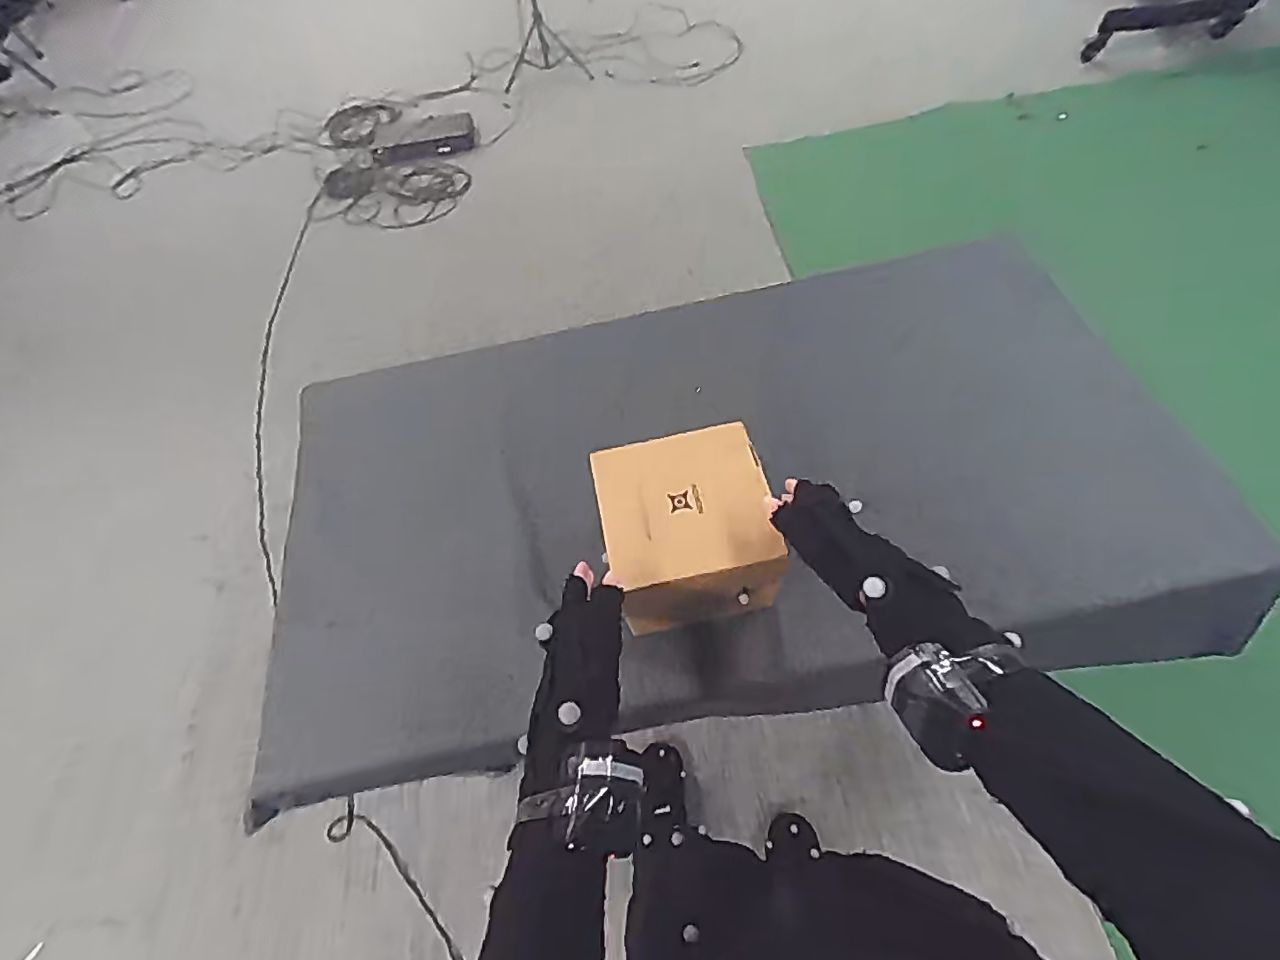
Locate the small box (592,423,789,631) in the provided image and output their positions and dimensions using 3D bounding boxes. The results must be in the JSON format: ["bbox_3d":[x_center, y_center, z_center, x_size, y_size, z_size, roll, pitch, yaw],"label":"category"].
[{"bbox_3d":[0.055,0.062,0.630,0.179,0.176,0.168,-14,59,1],"label":"small box"}]
